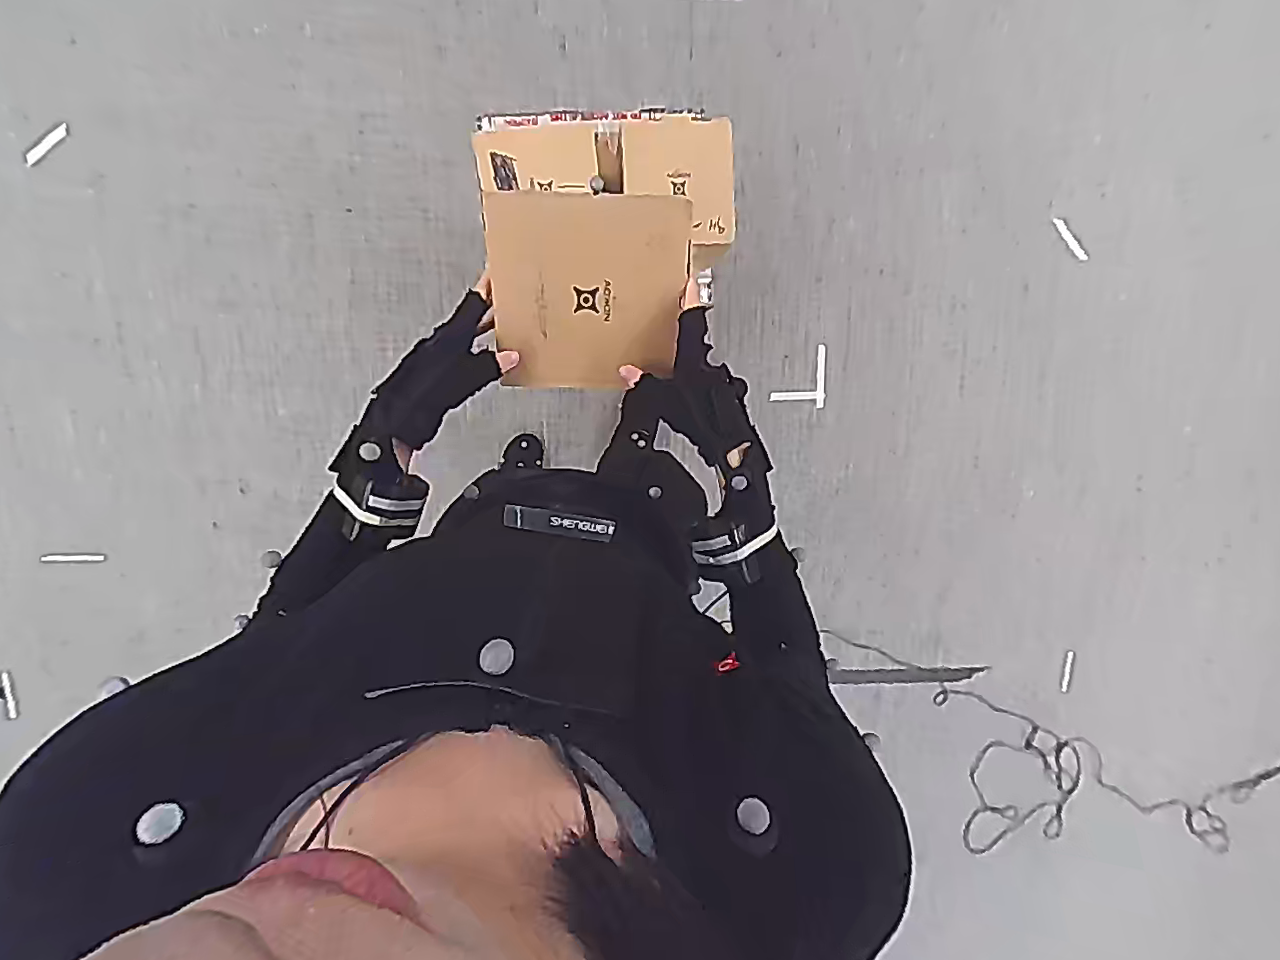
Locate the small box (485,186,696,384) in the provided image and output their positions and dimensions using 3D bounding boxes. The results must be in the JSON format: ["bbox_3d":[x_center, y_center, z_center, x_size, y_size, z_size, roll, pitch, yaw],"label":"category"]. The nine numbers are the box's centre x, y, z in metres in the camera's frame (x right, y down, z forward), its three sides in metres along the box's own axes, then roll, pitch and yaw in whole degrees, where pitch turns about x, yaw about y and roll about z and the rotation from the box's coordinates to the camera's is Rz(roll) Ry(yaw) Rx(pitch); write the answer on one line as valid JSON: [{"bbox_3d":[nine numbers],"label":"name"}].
[{"bbox_3d":[-0.044,-0.202,0.548,0.179,0.176,0.168,0,117,-1],"label":"small box"}]

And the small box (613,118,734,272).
[{"bbox_3d":[0.047,-0.445,0.868,0.168,0.176,0.179,-4,98,-6],"label":"small box"}]

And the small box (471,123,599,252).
[{"bbox_3d":[-0.150,-0.428,0.853,0.179,0.176,0.168,-6,99,-3],"label":"small box"}]
